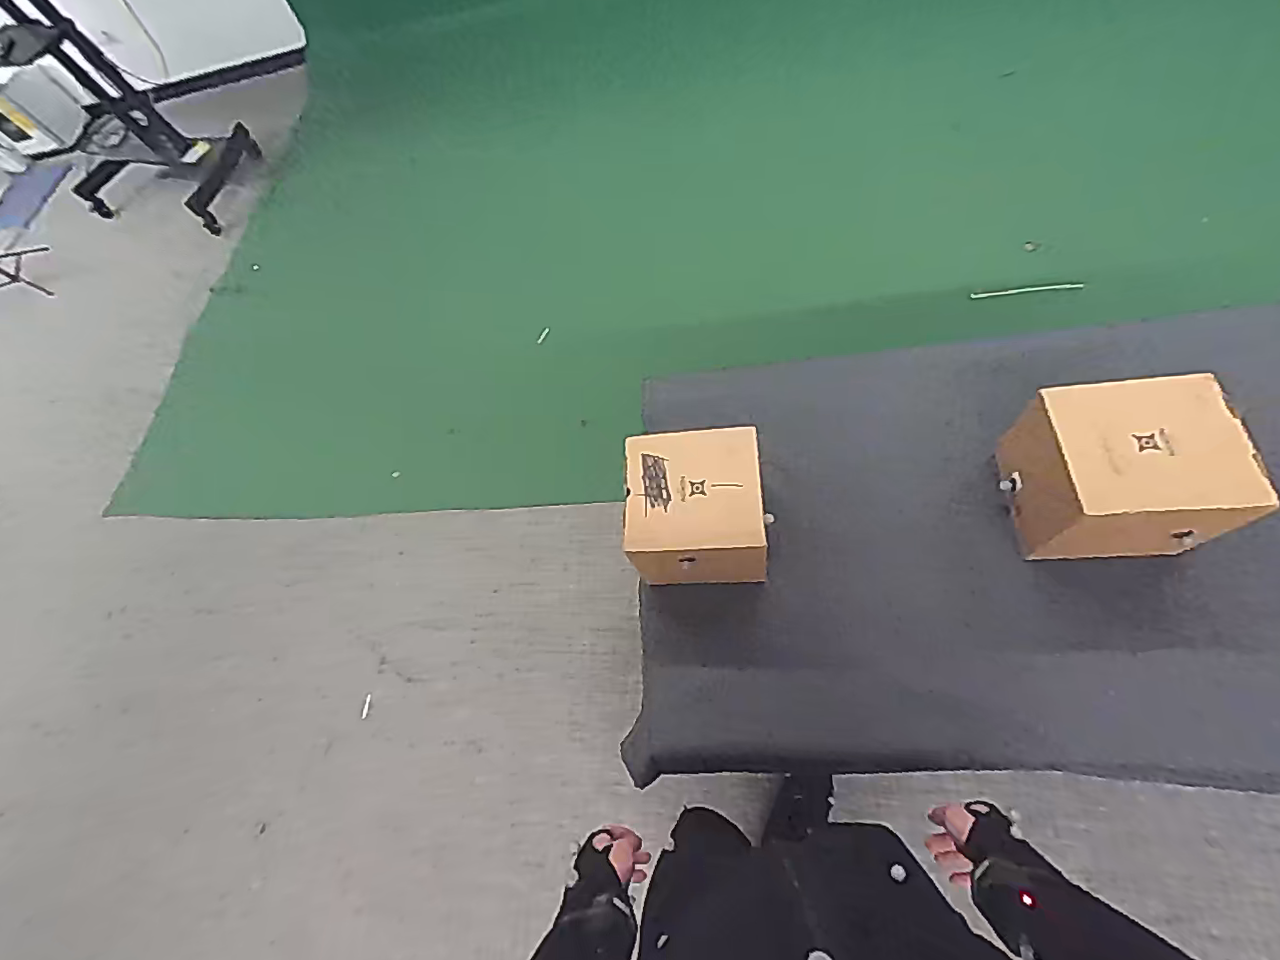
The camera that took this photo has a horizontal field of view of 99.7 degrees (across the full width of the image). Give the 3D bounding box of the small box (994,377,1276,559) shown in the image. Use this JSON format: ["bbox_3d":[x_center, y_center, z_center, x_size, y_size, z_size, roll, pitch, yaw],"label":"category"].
[{"bbox_3d":[0.579,-0.005,0.666,0.179,0.176,0.168,-4,64,11],"label":"small box"}]

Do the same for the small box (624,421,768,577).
[{"bbox_3d":[0.082,0.035,0.747,0.179,0.176,0.168,-3,66,9],"label":"small box"}]
